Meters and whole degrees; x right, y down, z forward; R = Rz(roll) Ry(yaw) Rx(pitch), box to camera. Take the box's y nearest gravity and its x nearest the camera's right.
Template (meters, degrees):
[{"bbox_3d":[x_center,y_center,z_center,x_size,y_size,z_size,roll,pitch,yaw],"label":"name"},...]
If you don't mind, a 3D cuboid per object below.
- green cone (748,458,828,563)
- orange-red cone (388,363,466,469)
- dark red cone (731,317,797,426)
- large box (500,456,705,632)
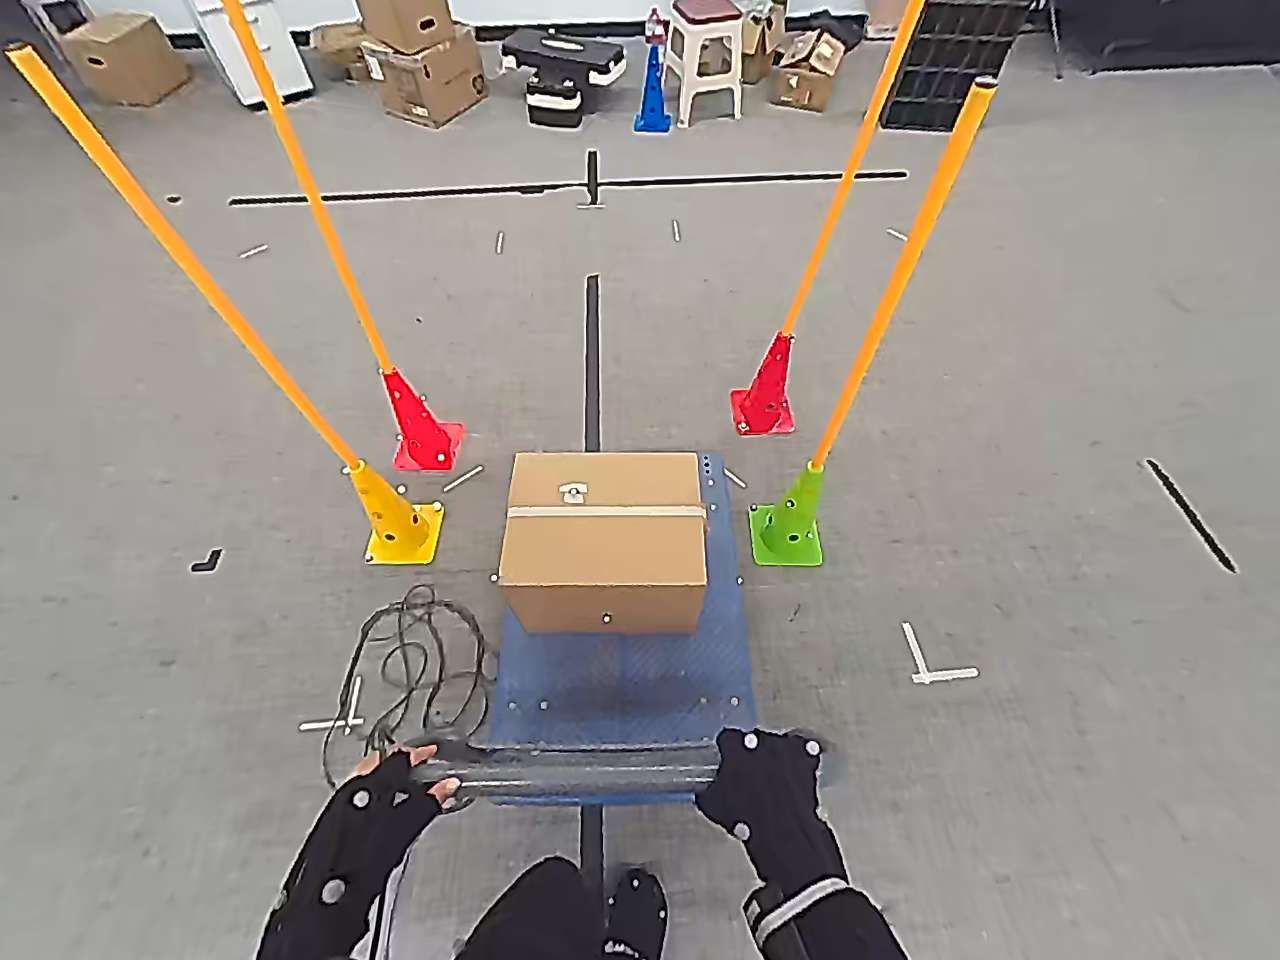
[{"bbox_3d":[0.434,0.063,1.480,0.202,0.368,0.200,1,57,-1],"label":"green cone"},{"bbox_3d":[-0.696,-0.220,1.664,0.198,0.360,0.199,4,55,1],"label":"orange-red cone"},{"bbox_3d":[0.429,-0.352,1.732,0.201,0.394,0.202,-1,57,-3],"label":"dark red cone"},{"bbox_3d":[-0.071,0.157,1.246,0.408,0.320,0.320,0,57,1],"label":"large box"}]
